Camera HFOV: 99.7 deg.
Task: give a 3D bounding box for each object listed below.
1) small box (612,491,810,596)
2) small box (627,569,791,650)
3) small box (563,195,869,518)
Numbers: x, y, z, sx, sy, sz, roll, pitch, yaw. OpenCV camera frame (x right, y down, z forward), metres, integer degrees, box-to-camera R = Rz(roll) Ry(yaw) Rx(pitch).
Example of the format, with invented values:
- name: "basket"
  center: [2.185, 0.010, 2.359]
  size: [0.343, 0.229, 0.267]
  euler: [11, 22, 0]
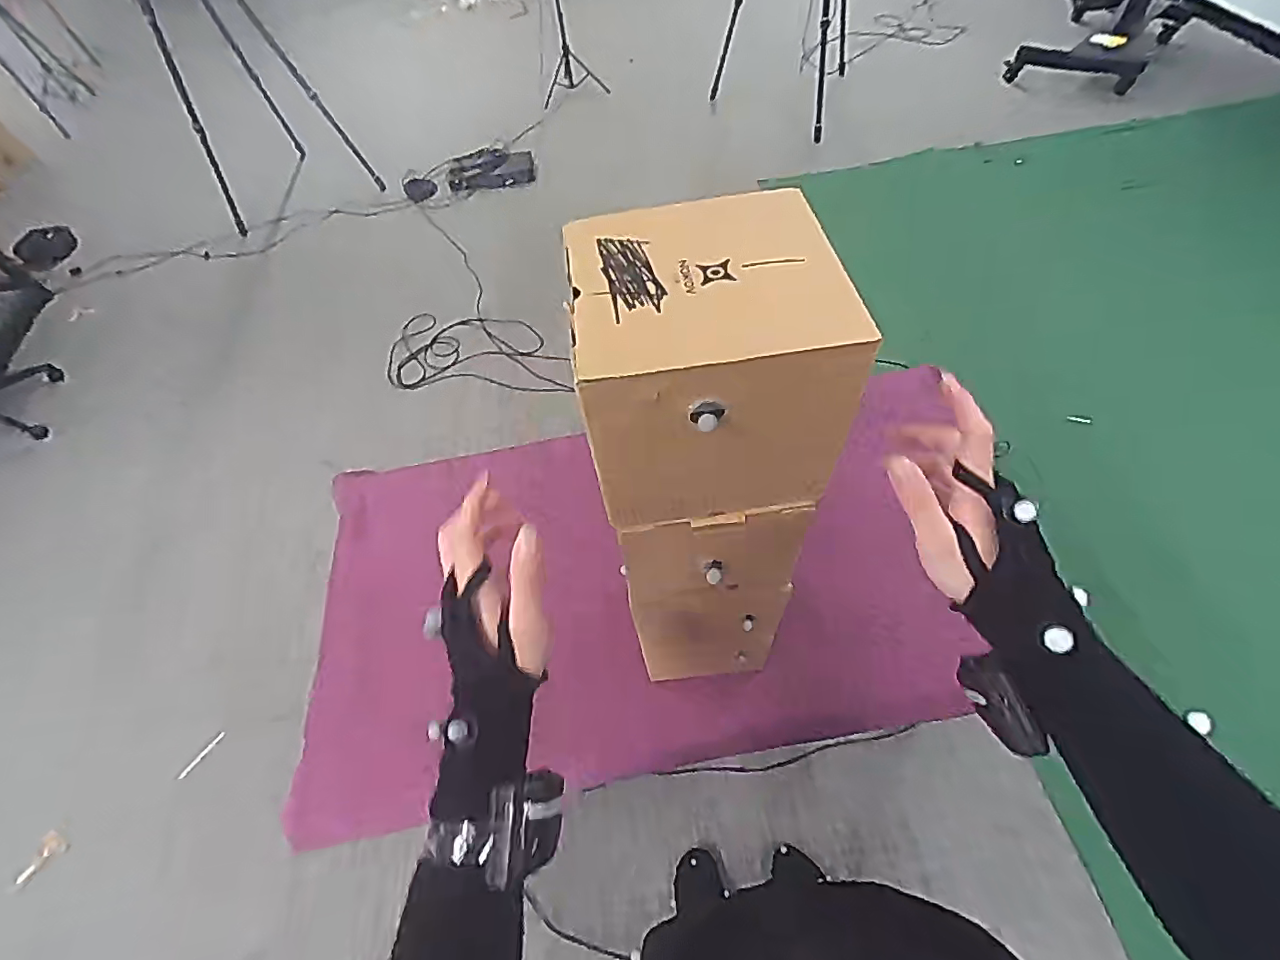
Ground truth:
- name: "small box"
  center: [0.060, 0.009, 0.551]
  size: [0.168, 0.176, 0.179]
  euler: [-7, 56, 1]
- name: "small box"
  center: [0.076, 0.105, 0.683]
  size: [0.179, 0.176, 0.168]
  euler: [-7, 56, 2]
- name: "small box"
  center: [0.045, -0.085, 0.416]
  size: [0.179, 0.176, 0.168]
  euler: [-8, 55, 0]
